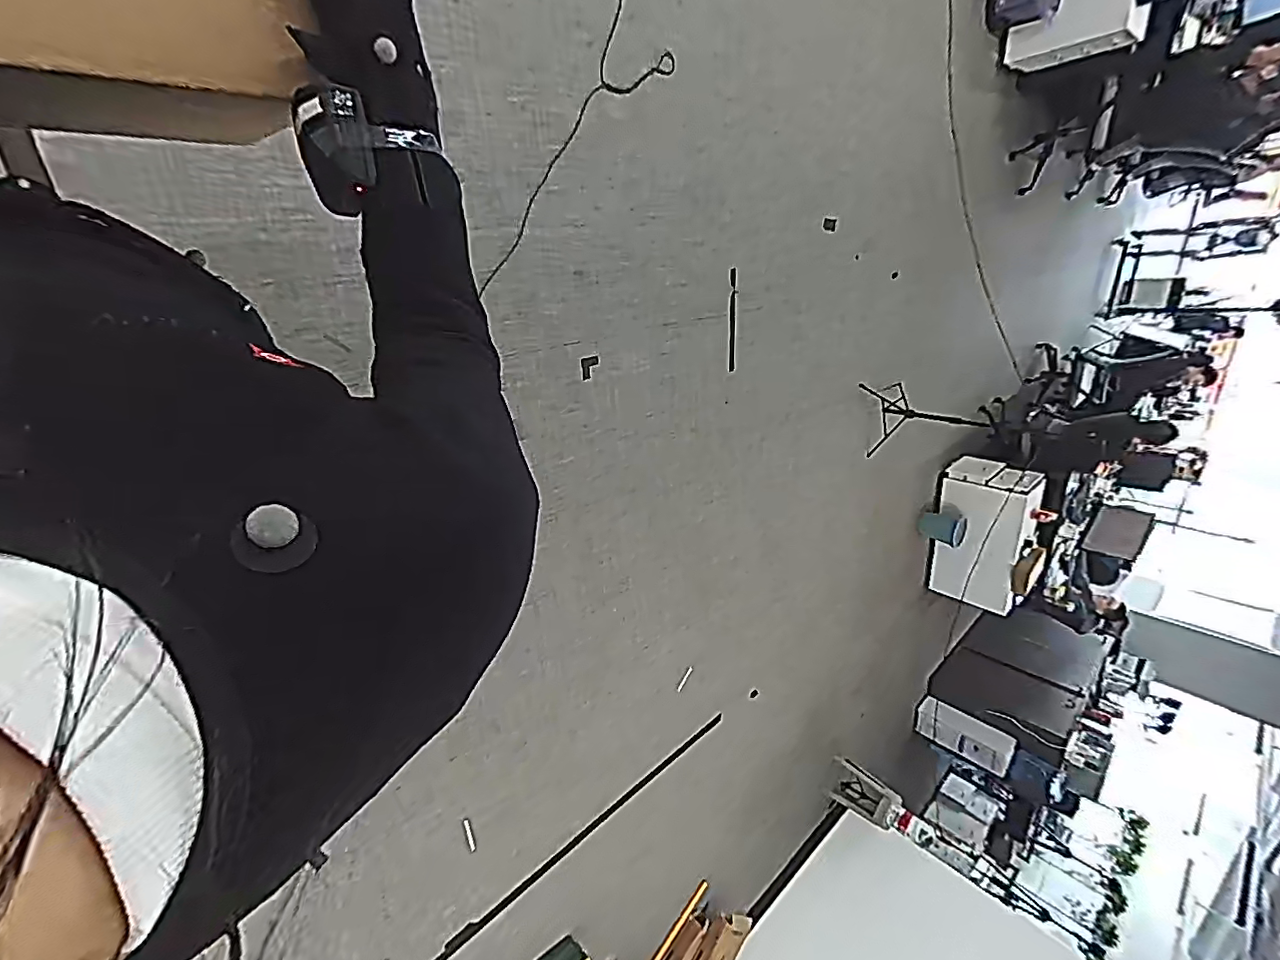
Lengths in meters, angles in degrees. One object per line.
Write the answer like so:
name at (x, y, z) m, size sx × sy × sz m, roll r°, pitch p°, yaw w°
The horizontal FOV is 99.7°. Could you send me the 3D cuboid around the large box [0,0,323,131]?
large box at (-0.465, -0.396, 0.287) m, size 0.408 × 0.320 × 0.320 m, roll -21°, pitch 125°, yaw -38°
